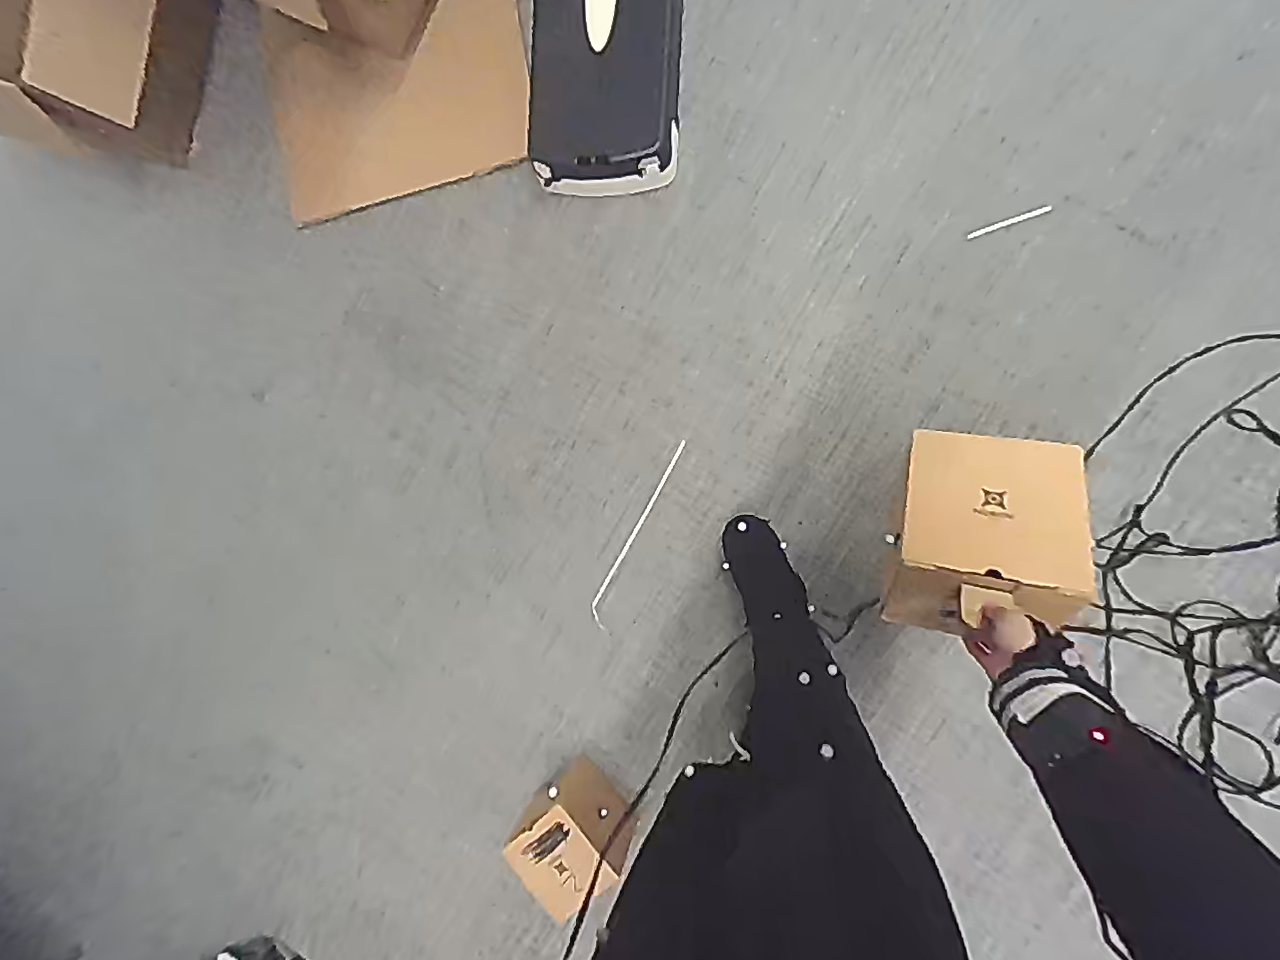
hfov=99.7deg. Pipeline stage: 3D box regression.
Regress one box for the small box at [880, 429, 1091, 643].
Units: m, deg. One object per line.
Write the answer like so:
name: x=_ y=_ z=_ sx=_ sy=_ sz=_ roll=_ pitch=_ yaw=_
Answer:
small box: x=0.387 y=0.067 z=0.635 sx=0.168 sy=0.176 sz=0.179 roll=9 pitch=60 yaw=20
